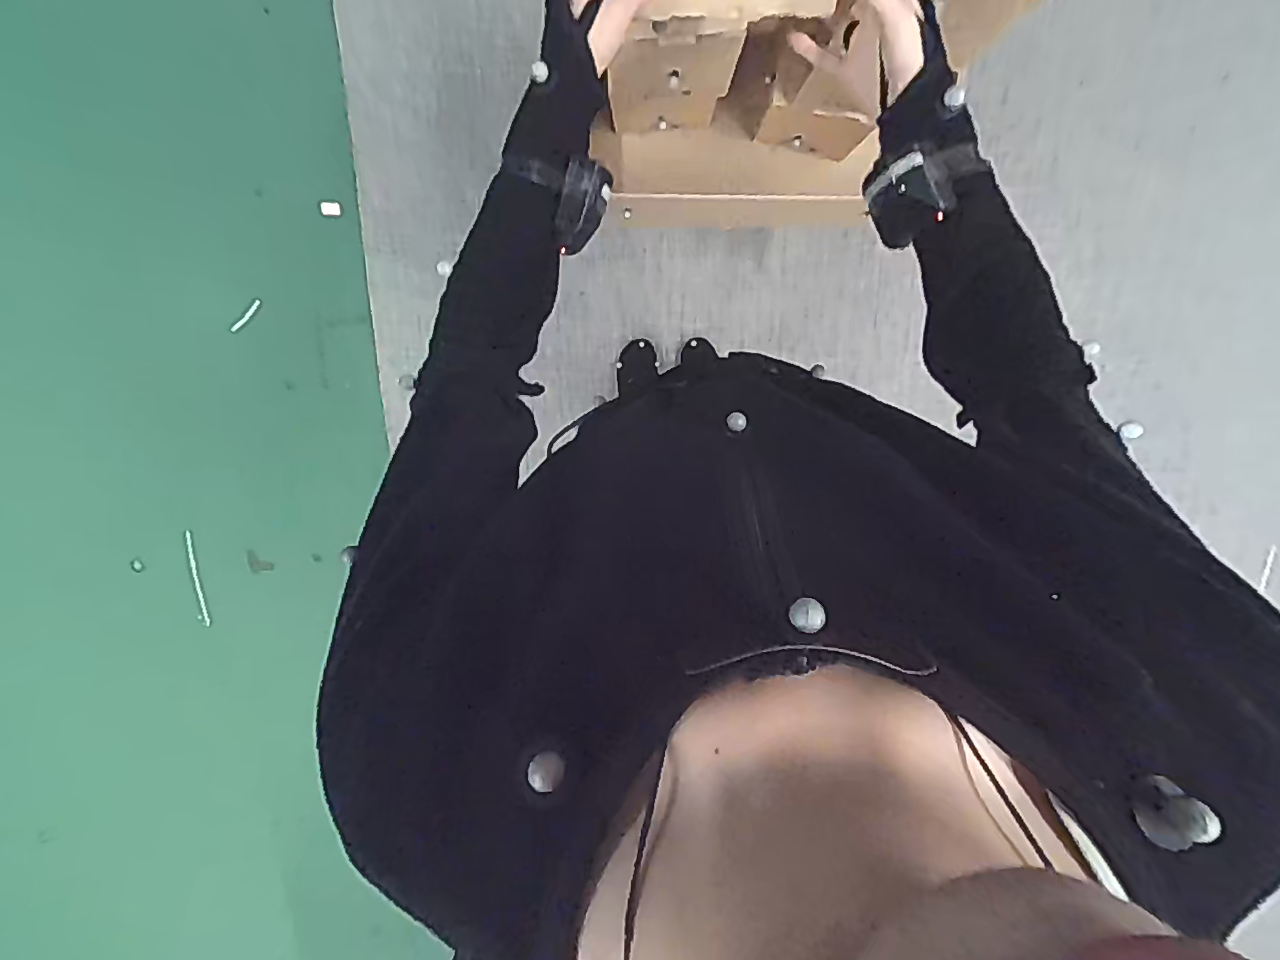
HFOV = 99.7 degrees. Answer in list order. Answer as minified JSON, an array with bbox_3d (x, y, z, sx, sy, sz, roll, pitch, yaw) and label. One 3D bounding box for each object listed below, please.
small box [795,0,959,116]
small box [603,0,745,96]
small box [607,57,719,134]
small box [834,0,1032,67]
[{"bbox_3d":[0.306,-0.593,0.685,0.168,0.176,0.179,6,105,-1],"label":"small box"},{"bbox_3d":[0.039,-0.613,0.682,0.168,0.176,0.179,-2,105,1],"label":"small box"},{"bbox_3d":[0.034,-0.668,0.837,0.168,0.176,0.179,-2,105,2],"label":"small box"},{"bbox_3d":[0.308,-0.548,0.528,0.168,0.176,0.179,9,104,-2],"label":"small box"}]
